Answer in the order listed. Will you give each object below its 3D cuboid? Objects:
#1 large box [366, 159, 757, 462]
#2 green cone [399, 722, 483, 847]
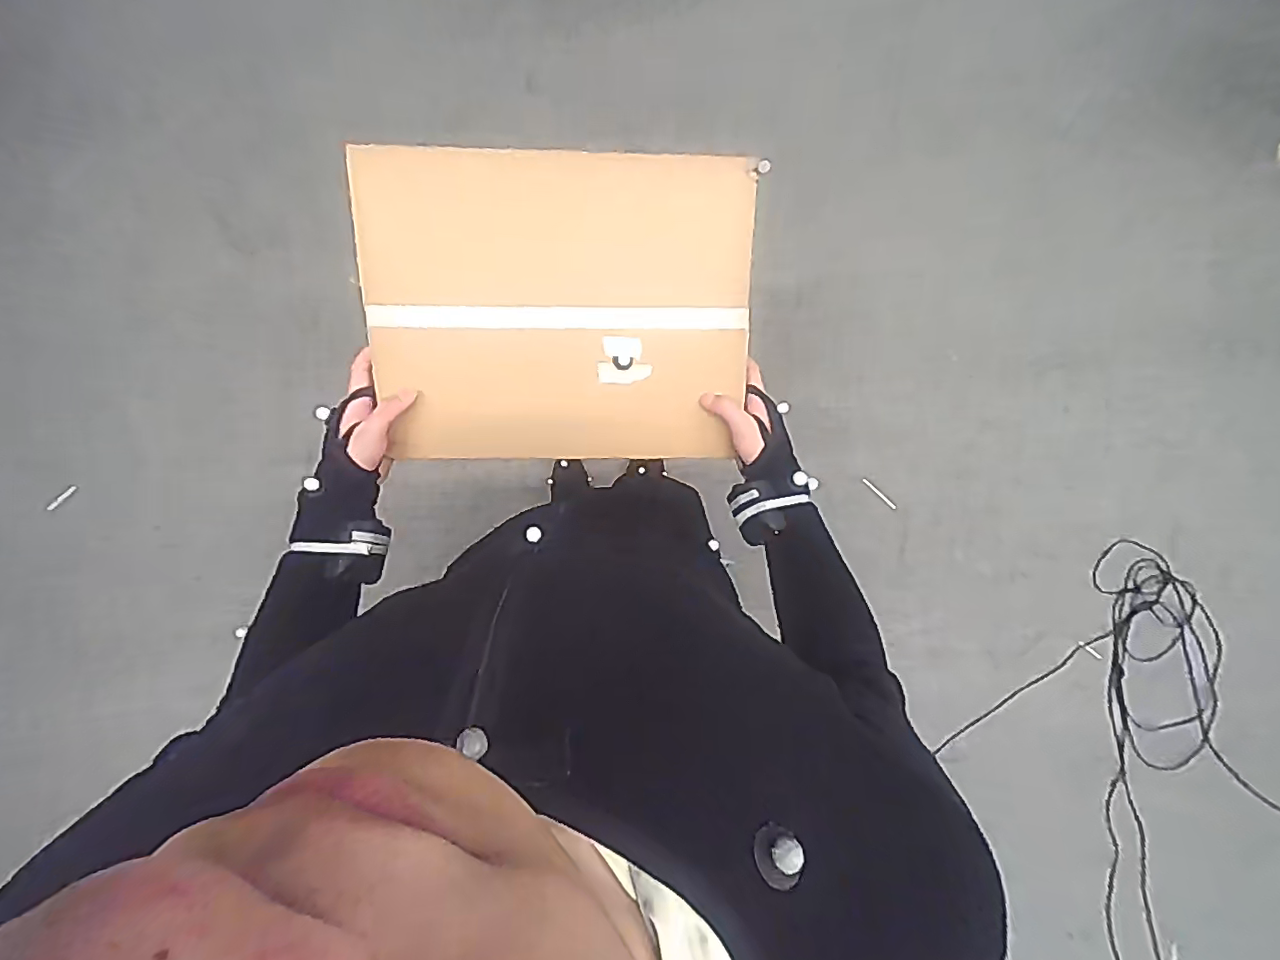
[{"bbox_3d":[-0.086,-0.215,0.731,0.408,0.320,0.320,-1,107,-4],"label":"large box"},{"bbox_3d":[-0.570,0.841,1.464,0.200,0.368,0.202,4,93,-4],"label":"green cone"}]
